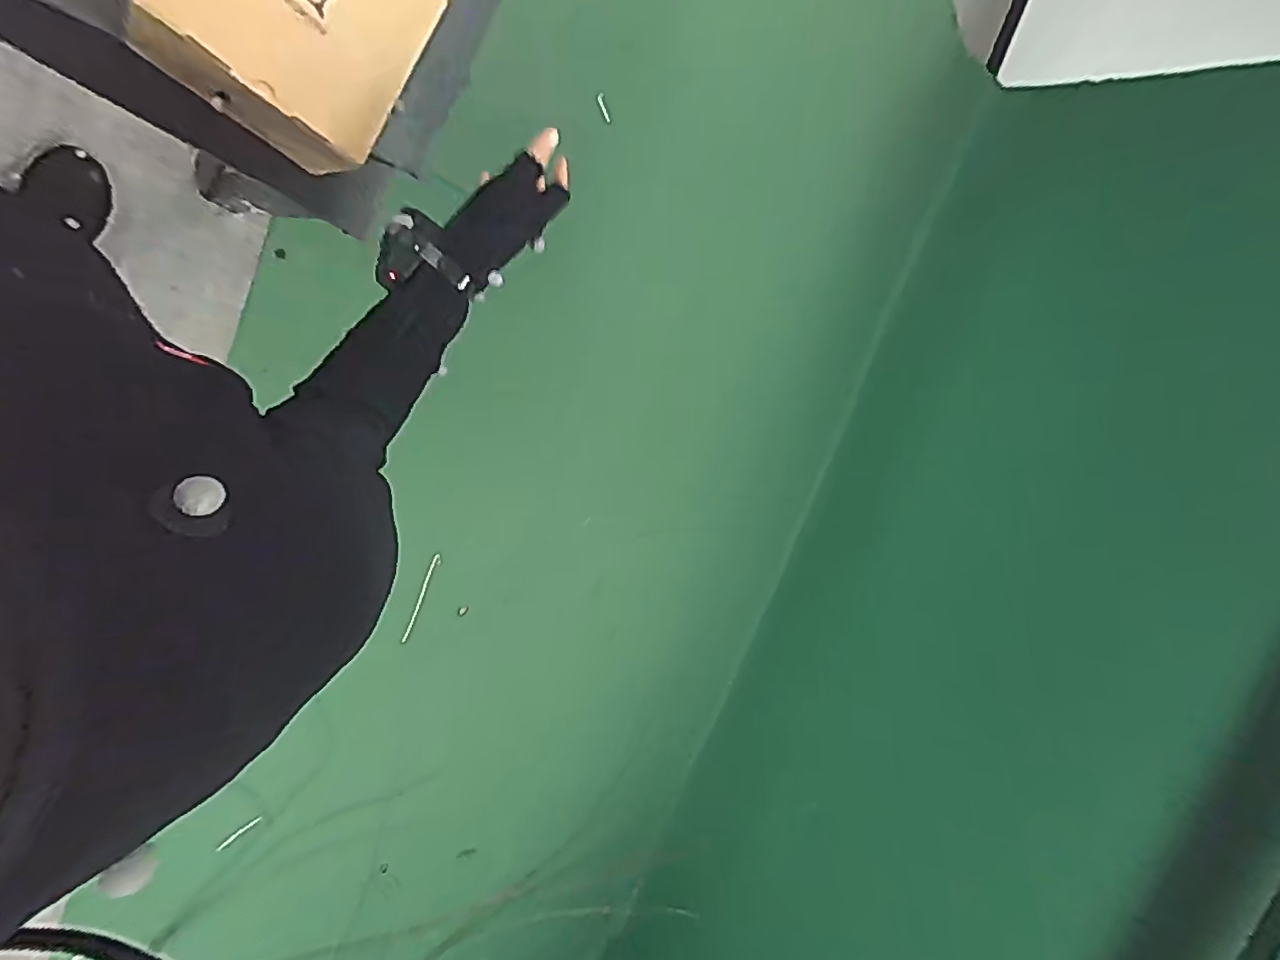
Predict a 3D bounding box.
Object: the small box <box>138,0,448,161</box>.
[{"bbox_3d":[-0.314,-0.424,0.487,0.168,0.176,0.179,28,92,-49],"label":"small box"}]
